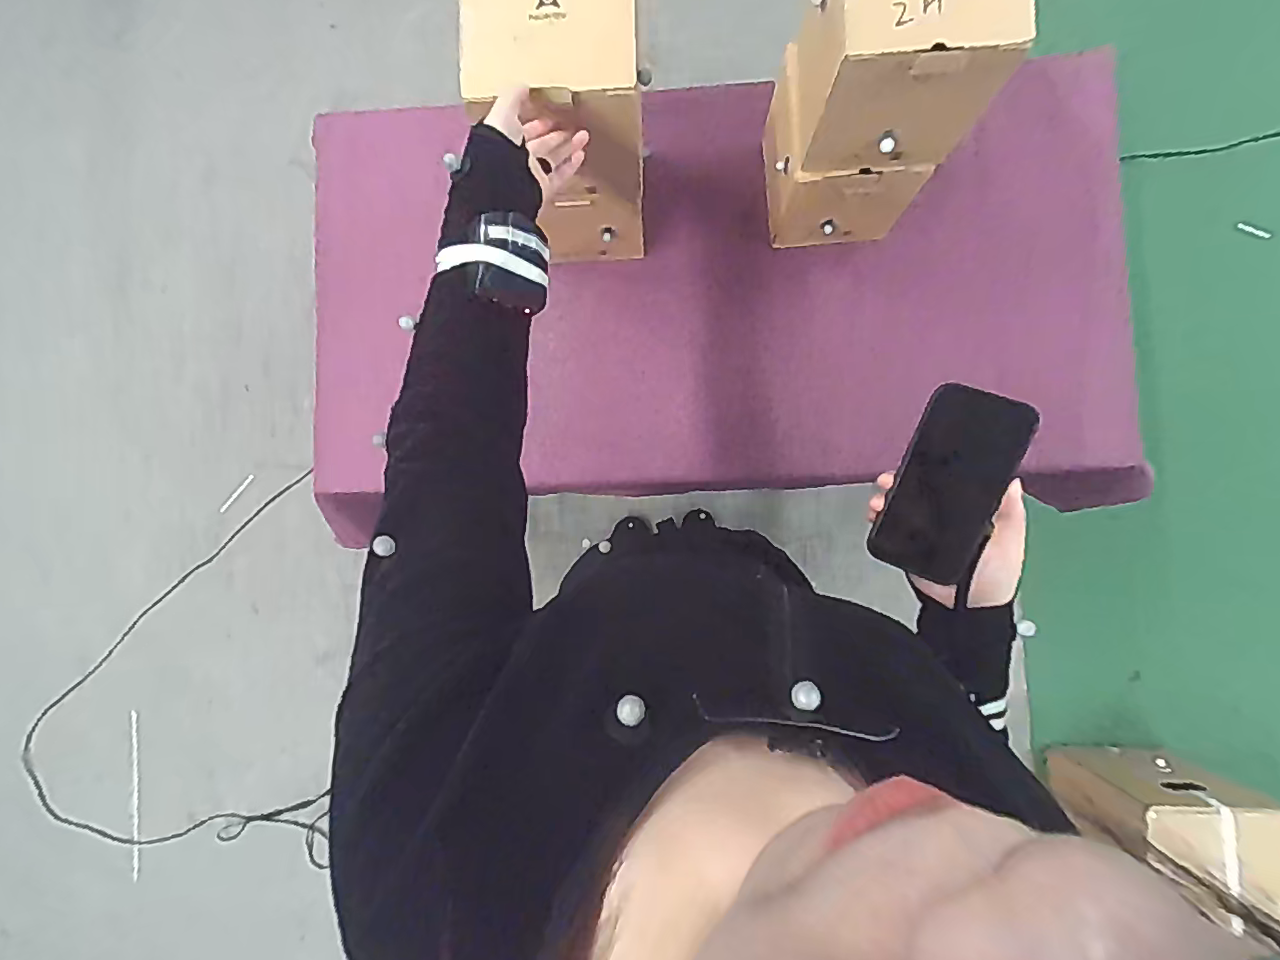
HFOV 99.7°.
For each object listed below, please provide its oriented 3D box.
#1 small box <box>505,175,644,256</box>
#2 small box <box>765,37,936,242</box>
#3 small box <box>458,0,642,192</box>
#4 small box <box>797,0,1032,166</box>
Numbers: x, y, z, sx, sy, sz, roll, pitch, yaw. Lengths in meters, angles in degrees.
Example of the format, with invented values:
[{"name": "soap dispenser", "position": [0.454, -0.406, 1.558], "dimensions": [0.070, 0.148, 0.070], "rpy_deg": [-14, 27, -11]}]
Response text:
[{"name": "small box", "position": [-0.082, -0.425, 0.744], "dimensions": [0.168, 0.176, 0.179], "rpy_deg": [-2, 86, 2]}, {"name": "small box", "position": [0.267, -0.448, 0.723], "dimensions": [0.168, 0.176, 0.179], "rpy_deg": [-4, 87, 3]}, {"name": "small box", "position": [-0.084, -0.432, 0.579], "dimensions": [0.168, 0.176, 0.179], "rpy_deg": [-1, 87, 2]}, {"name": "small box", "position": [0.263, -0.463, 0.559], "dimensions": [0.168, 0.176, 0.179], "rpy_deg": [-1, 88, 4]}]
